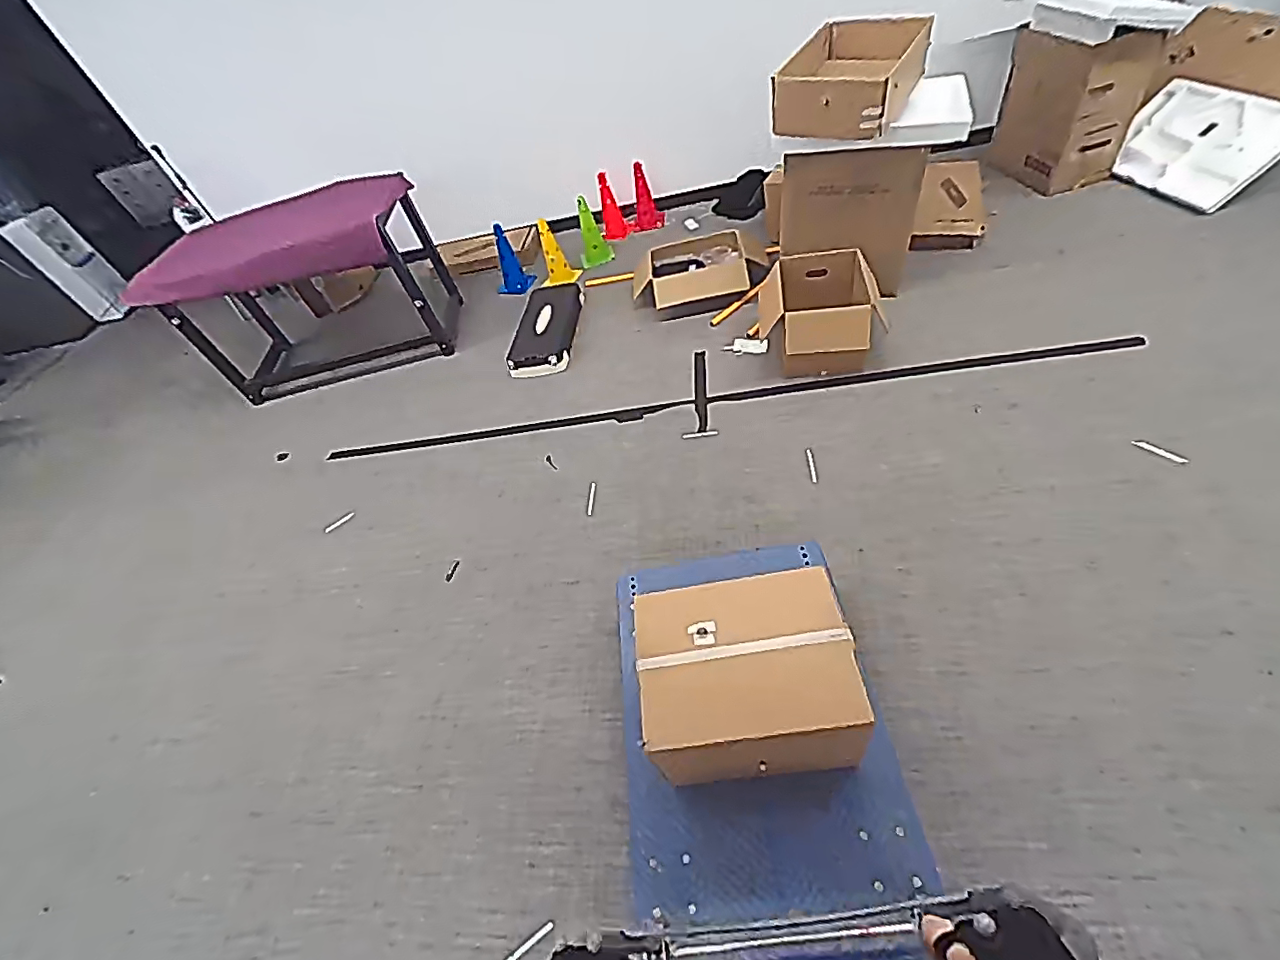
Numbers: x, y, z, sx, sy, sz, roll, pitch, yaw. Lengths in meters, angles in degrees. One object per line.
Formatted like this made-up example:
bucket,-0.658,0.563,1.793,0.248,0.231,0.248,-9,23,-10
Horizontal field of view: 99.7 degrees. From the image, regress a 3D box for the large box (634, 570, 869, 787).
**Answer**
large box,0.226,0.435,1.158,0.408,0.320,0.320,-12,48,7
